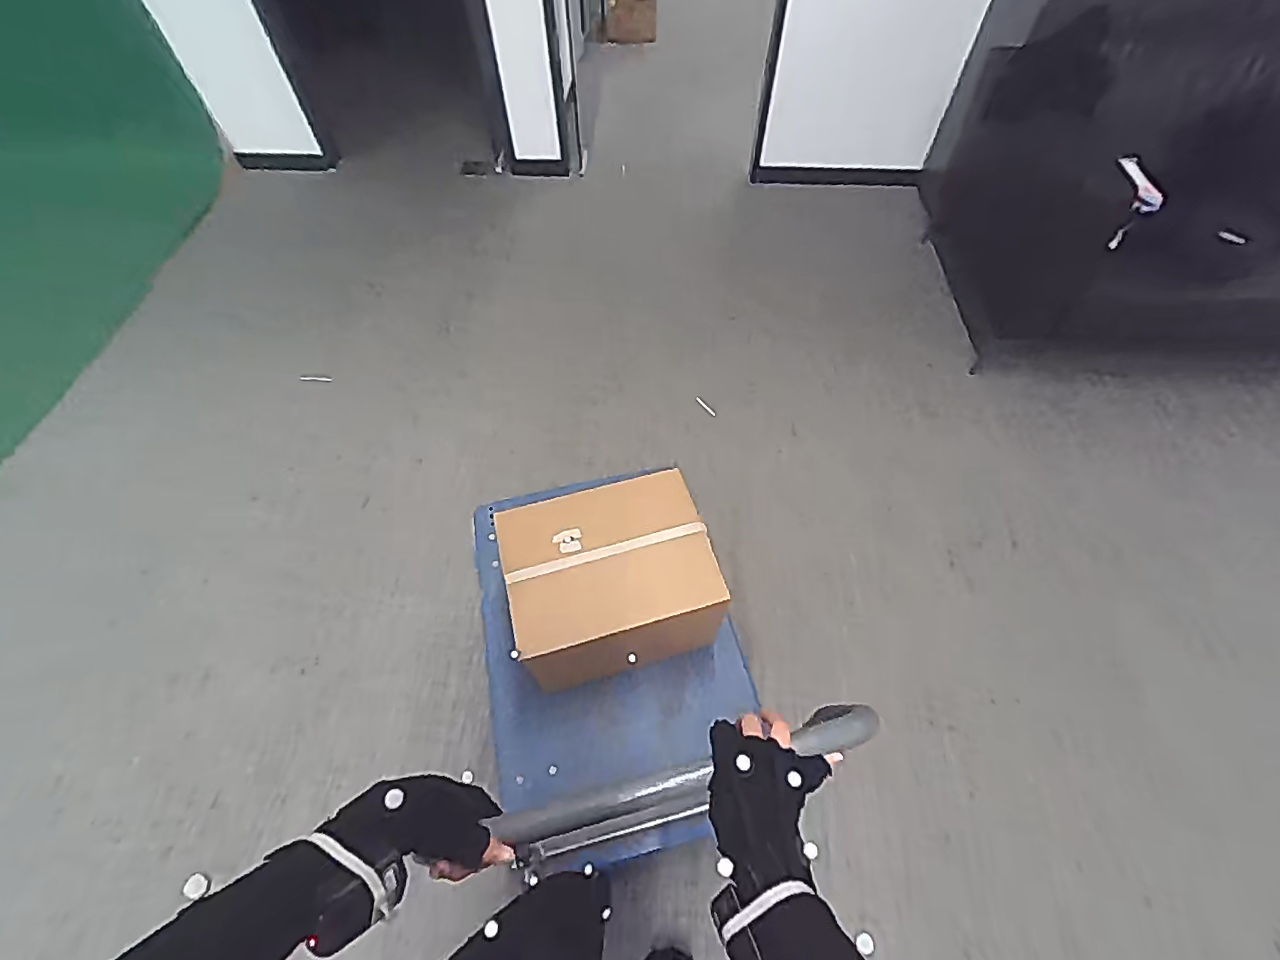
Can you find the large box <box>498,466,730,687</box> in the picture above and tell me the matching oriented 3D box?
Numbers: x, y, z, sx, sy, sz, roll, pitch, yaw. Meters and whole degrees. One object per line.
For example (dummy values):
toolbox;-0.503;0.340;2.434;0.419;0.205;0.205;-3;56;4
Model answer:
large box;-0.059;0.221;1.194;0.408;0.320;0.320;-15;58;-9
